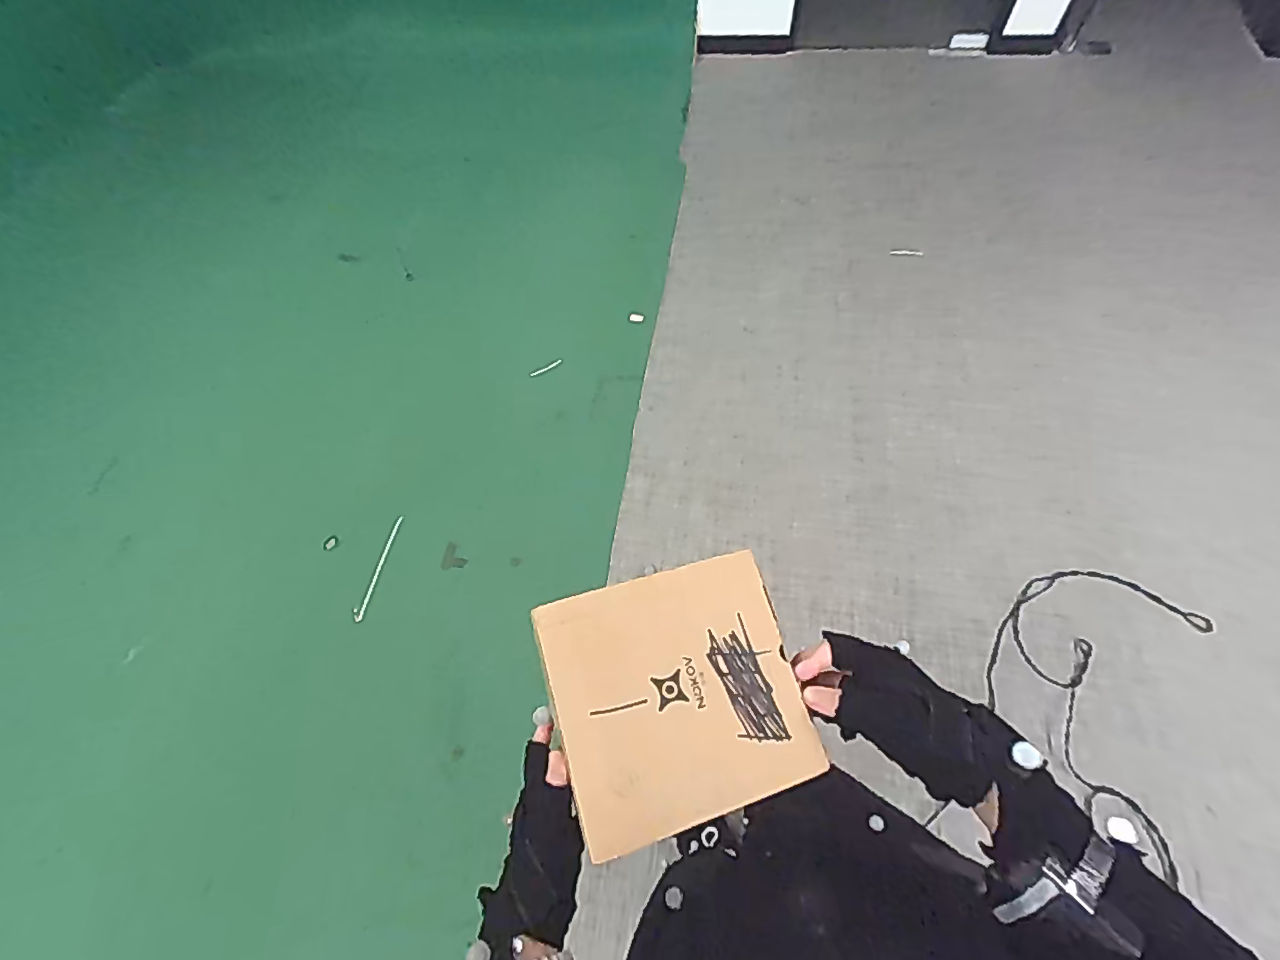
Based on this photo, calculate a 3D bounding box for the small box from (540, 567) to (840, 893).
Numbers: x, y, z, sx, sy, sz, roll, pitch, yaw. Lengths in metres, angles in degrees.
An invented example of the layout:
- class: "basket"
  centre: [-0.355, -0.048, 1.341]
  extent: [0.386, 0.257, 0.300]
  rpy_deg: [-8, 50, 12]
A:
- class: "small box"
  centre: [0.020, 0.183, 0.440]
  extent: [0.179, 0.176, 0.168]
  rpy_deg: [-13, 72, -14]
